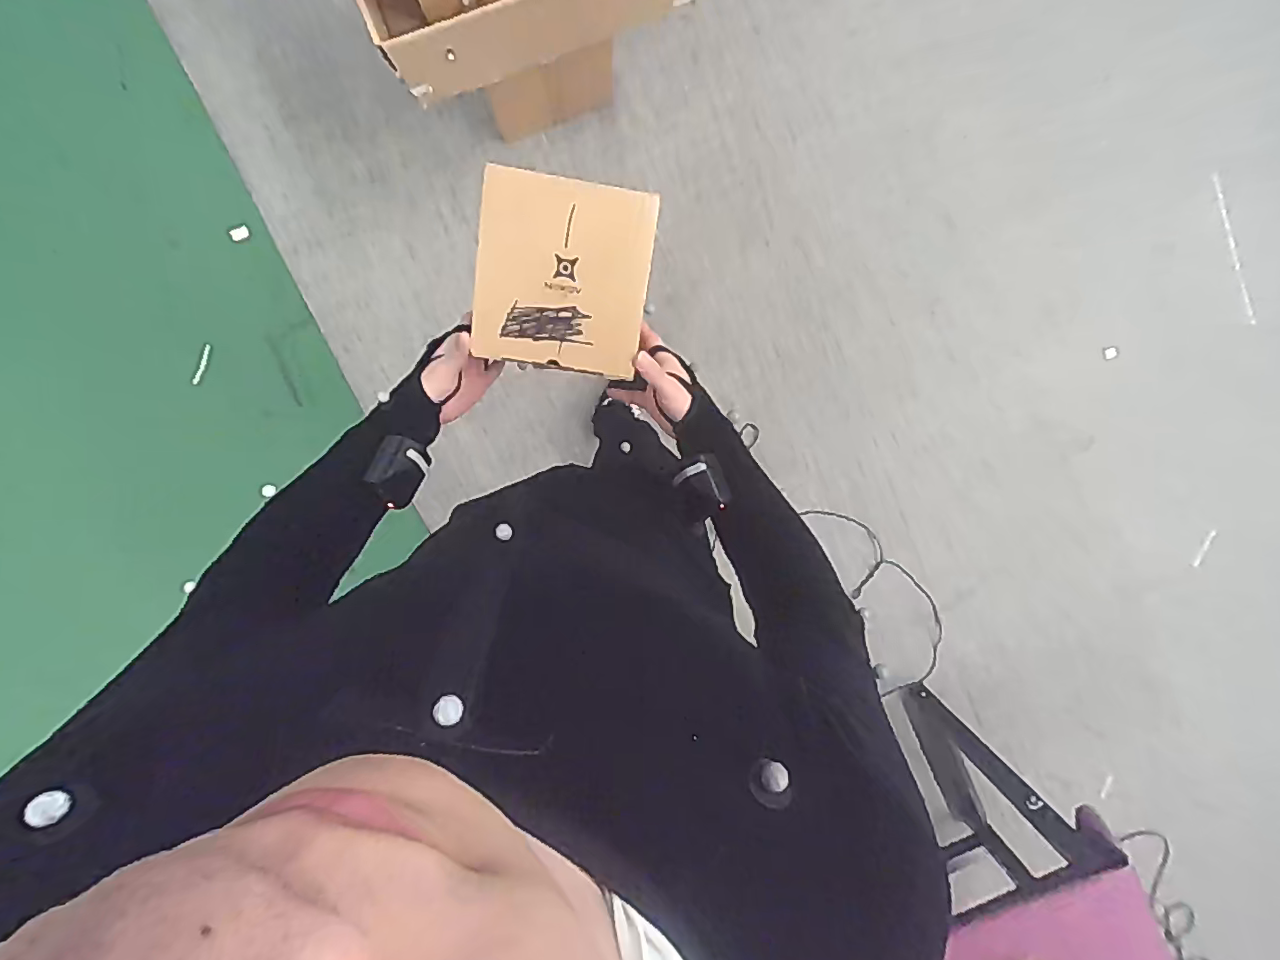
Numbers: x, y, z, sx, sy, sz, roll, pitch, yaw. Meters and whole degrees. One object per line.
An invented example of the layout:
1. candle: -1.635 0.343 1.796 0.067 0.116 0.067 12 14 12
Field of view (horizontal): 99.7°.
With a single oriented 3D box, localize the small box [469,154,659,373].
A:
1. small box: -0.079 -0.222 0.597 0.168 0.176 0.179 8 103 -6
